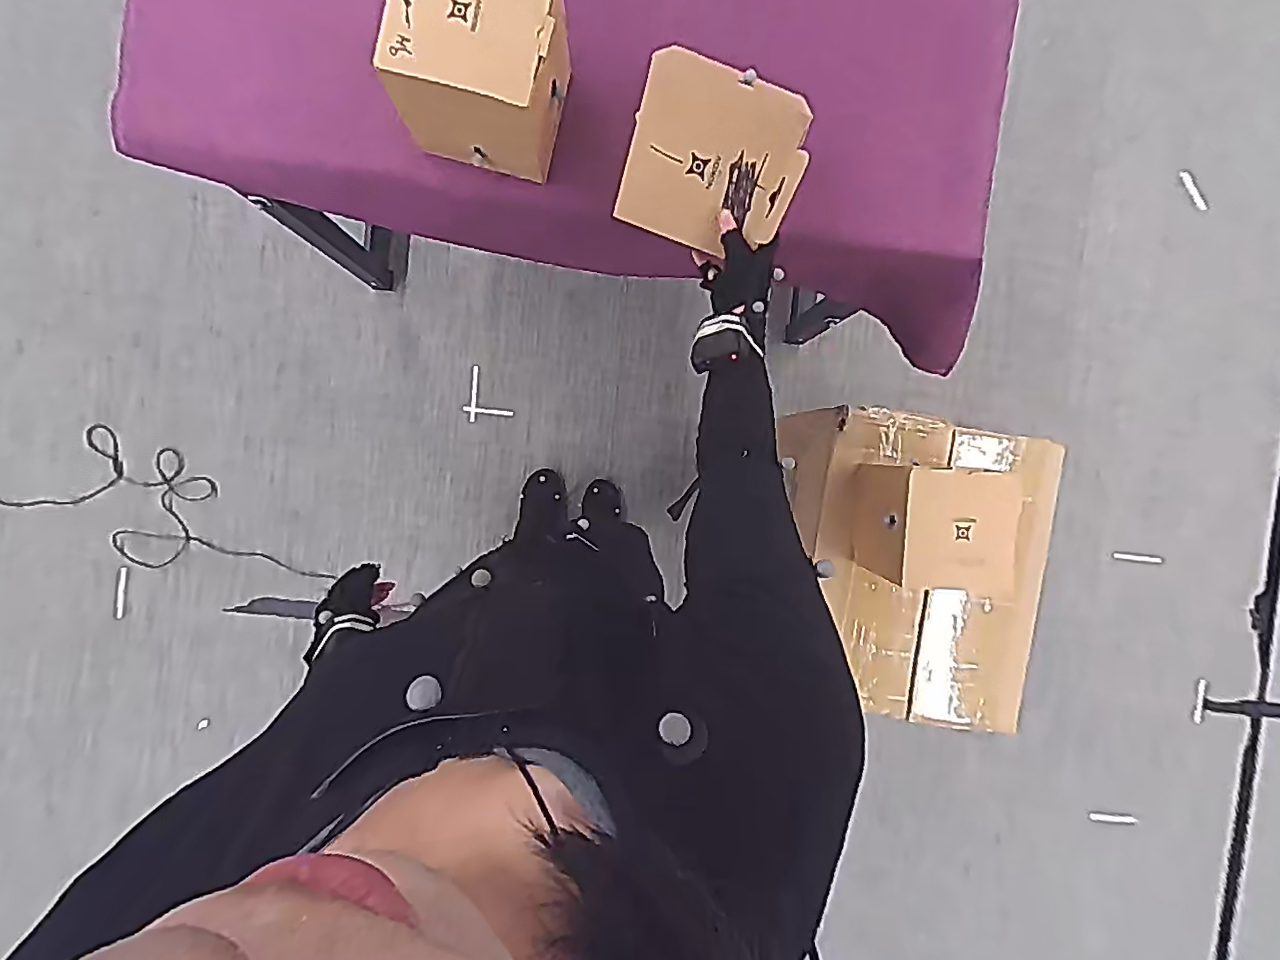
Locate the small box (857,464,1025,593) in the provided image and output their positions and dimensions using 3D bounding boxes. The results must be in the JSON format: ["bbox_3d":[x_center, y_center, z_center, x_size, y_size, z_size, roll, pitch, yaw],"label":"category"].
[{"bbox_3d":[0.452,0.066,0.838,0.168,0.176,0.179,3,93,-1],"label":"small box"}]

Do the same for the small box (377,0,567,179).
[{"bbox_3d":[-0.193,-0.511,0.675,0.179,0.176,0.168,13,90,-5],"label":"small box"}]

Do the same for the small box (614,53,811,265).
[{"bbox_3d":[0.087,-0.397,0.663,0.179,0.176,0.168,20,131,-3],"label":"small box"}]
